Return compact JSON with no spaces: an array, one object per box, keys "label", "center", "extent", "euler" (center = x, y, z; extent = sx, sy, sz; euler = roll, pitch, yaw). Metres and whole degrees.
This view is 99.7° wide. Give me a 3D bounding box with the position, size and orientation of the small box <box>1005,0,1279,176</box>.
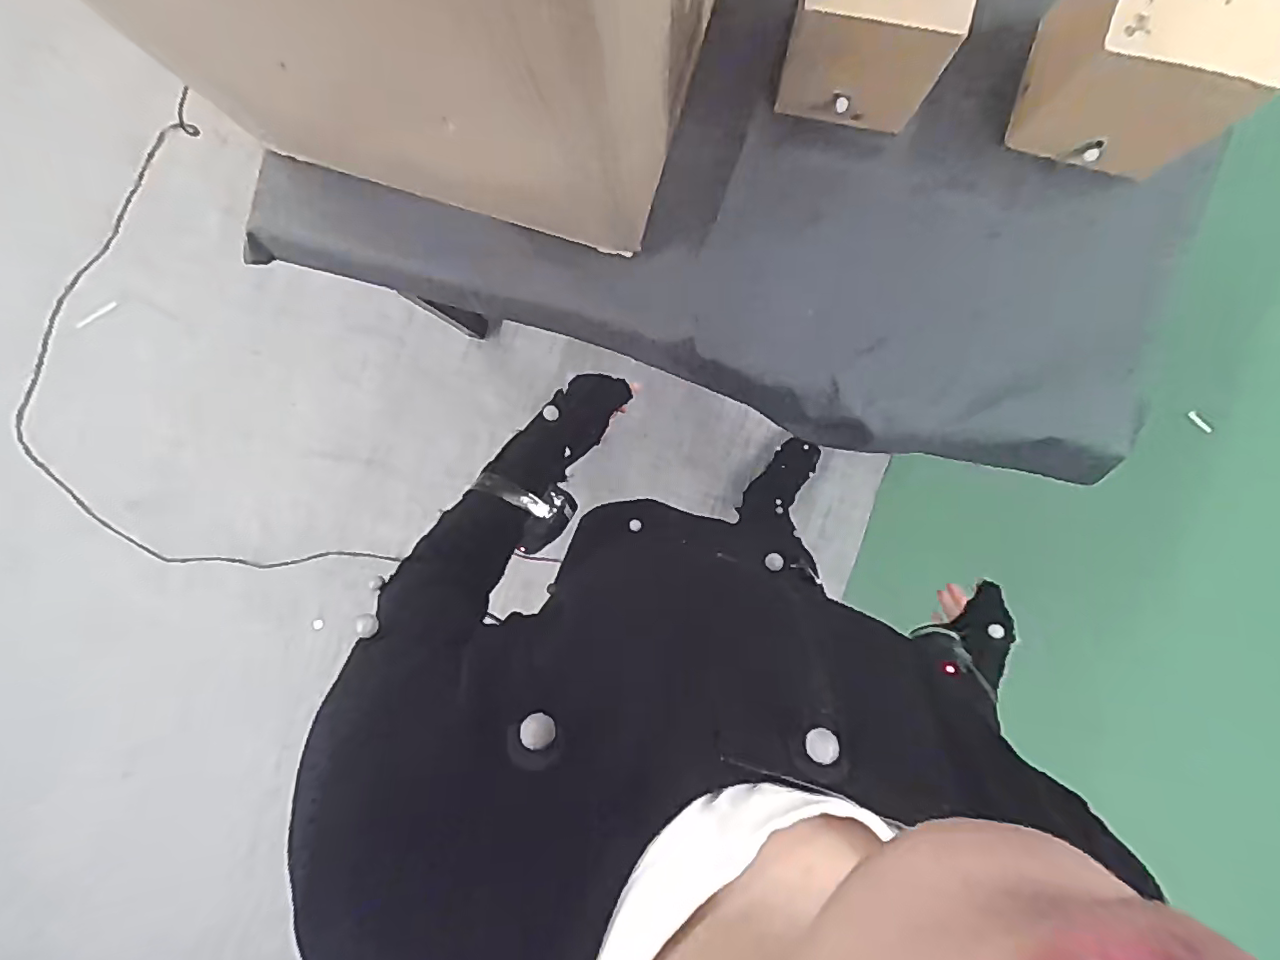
[{"label":"small box","center":[0.564,-0.474,0.604],"extent":[0.179,0.176,0.168],"euler":[17,93,3]}]
